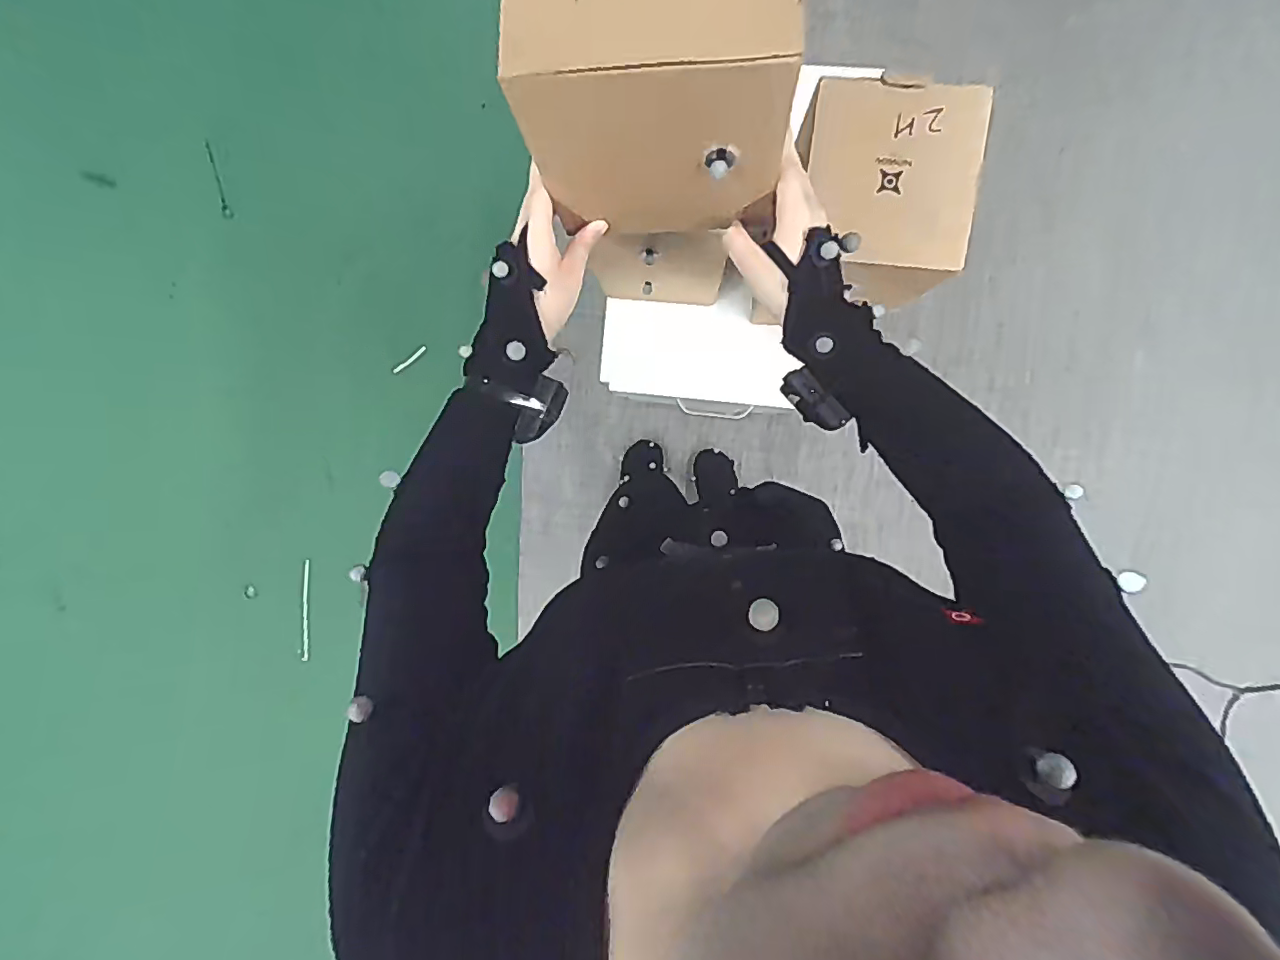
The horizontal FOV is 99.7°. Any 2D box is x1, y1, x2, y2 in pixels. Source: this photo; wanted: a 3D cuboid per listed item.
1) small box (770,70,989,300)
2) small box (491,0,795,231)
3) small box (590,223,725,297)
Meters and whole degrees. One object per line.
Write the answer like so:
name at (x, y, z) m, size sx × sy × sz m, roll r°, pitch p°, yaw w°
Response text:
small box at (0.247, -0.311, 0.606) m, size 0.168 × 0.176 × 0.179 m, roll 7°, pitch 96°, yaw 4°
small box at (0.009, -0.304, 0.393) m, size 0.179 × 0.176 × 0.168 m, roll 0°, pitch 83°, yaw 7°
small box at (0.031, -0.370, 0.783) m, size 0.179 × 0.176 × 0.168 m, roll 5°, pitch 97°, yaw 2°
